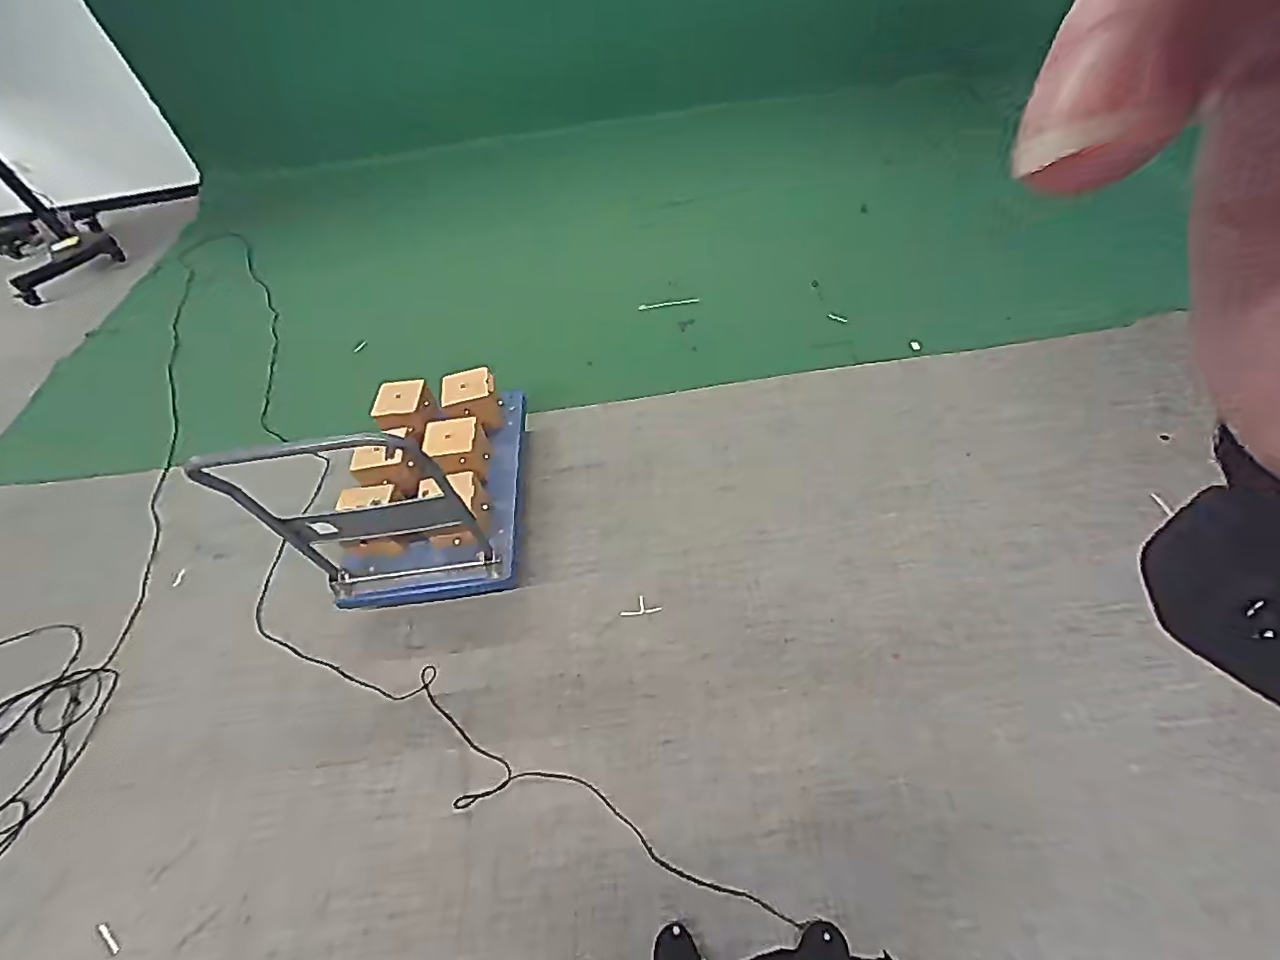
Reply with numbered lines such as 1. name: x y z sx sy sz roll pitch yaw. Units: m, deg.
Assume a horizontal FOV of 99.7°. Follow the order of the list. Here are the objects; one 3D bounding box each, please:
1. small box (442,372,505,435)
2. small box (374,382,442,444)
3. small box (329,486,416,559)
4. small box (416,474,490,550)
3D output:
1. small box: -0.623 -0.284 2.042 0.179 0.176 0.168 -7 54 1
2. small box: -0.873 -0.248 2.052 0.168 0.176 0.179 -4 52 3
3. small box: -0.851 0.140 1.742 0.179 0.176 0.168 -6 51 4
4. small box: -0.590 0.105 1.735 0.179 0.176 0.168 -9 51 0
